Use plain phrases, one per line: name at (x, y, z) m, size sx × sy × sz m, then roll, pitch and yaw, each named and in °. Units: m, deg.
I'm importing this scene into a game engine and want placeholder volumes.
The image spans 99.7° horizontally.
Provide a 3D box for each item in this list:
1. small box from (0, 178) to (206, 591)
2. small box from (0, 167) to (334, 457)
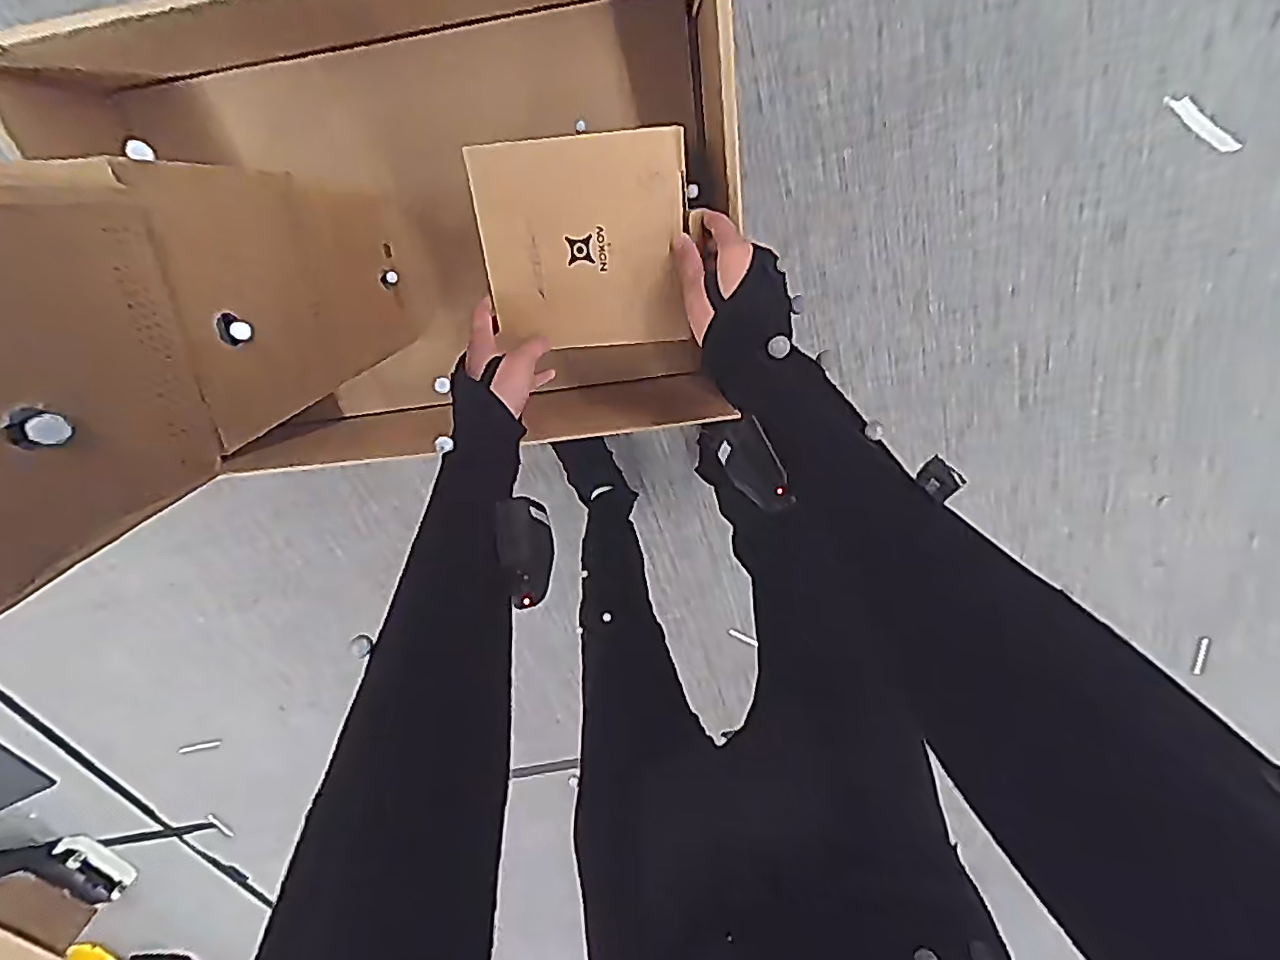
small box at (-0.366, -0.048, 0.261) m, size 0.168 × 0.176 × 0.179 m, roll 3°, pitch 118°, yaw -1°
small box at (-0.365, -0.130, 0.404) m, size 0.168 × 0.176 × 0.179 m, roll 0°, pitch 117°, yaw 1°
